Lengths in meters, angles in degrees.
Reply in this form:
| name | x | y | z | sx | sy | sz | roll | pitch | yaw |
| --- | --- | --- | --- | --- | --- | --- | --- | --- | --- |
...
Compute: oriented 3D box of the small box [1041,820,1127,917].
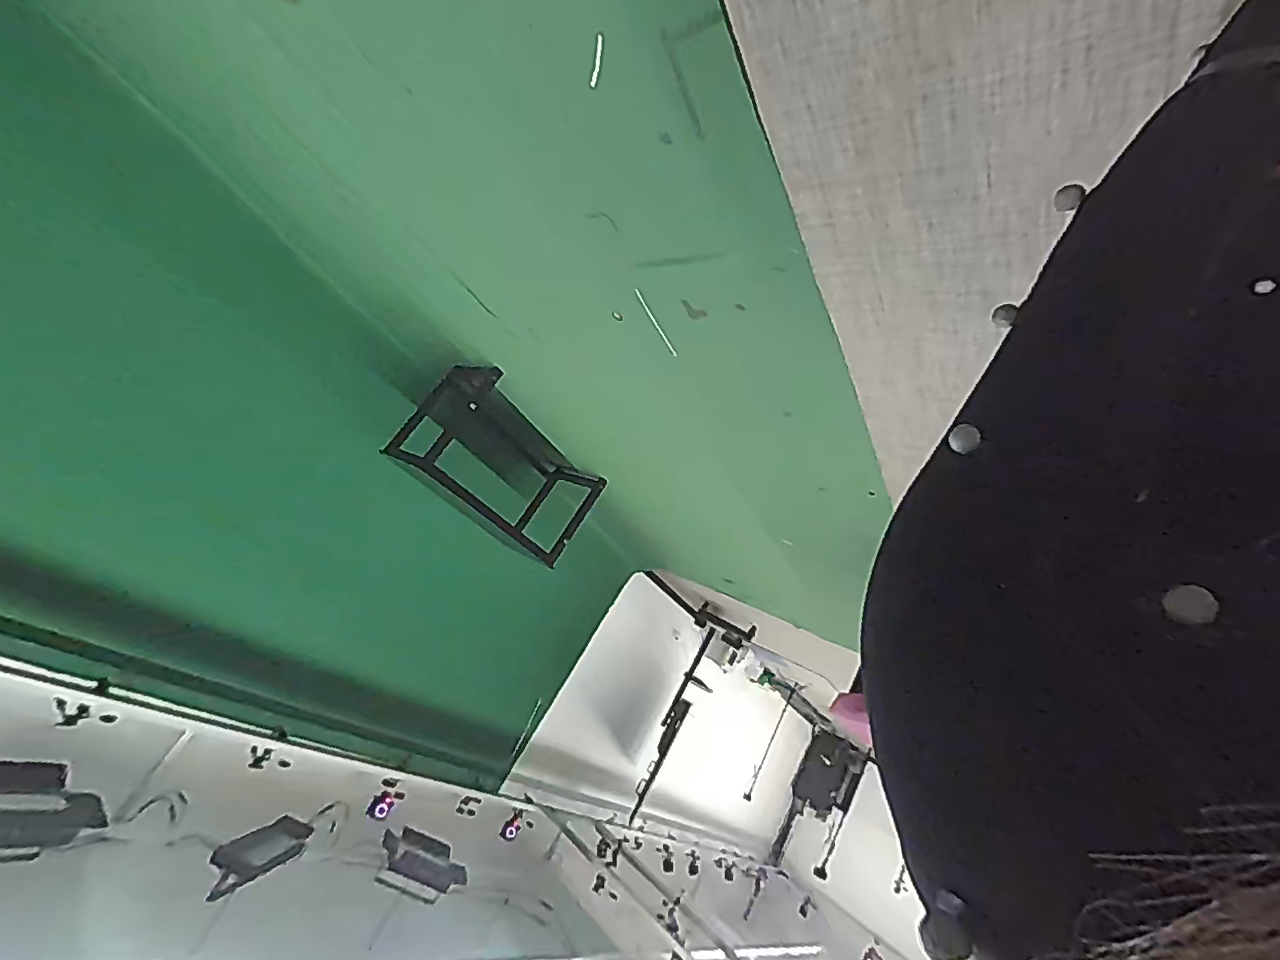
| name | x | y | z | sx | sy | sz | roll | pitch | yaw |
| --- | --- | --- | --- | --- | --- | --- | --- | --- | --- |
| small box | 1.306 | 1.138 | 1.592 | 0.168 | 0.176 | 0.179 | 14 | 156 | 44 |
